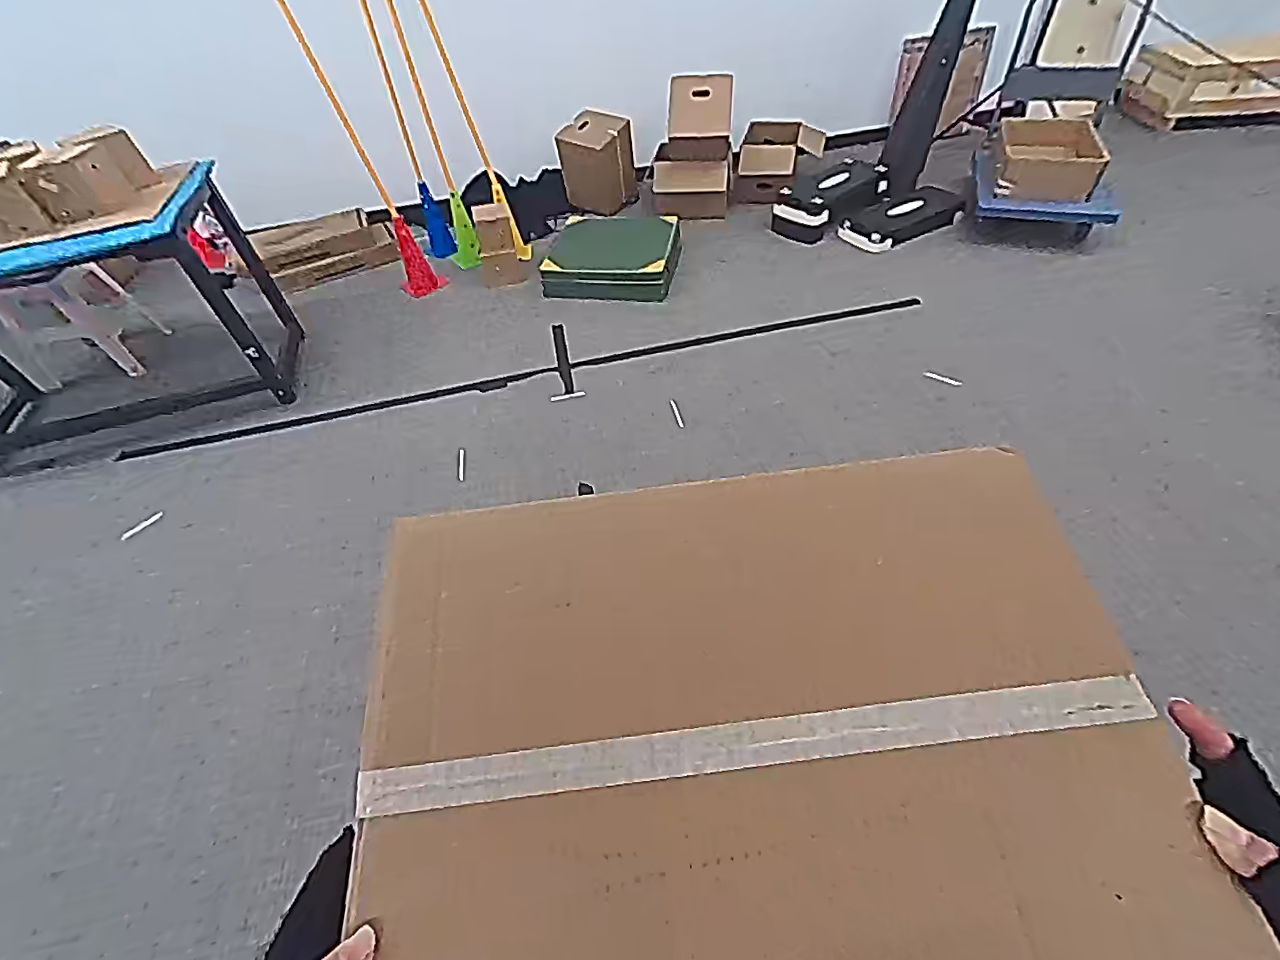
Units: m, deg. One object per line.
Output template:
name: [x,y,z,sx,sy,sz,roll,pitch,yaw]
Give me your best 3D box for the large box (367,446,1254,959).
large box: [0.066,0.207,0.423,0.408,0.320,0.320,-7,62,0]
